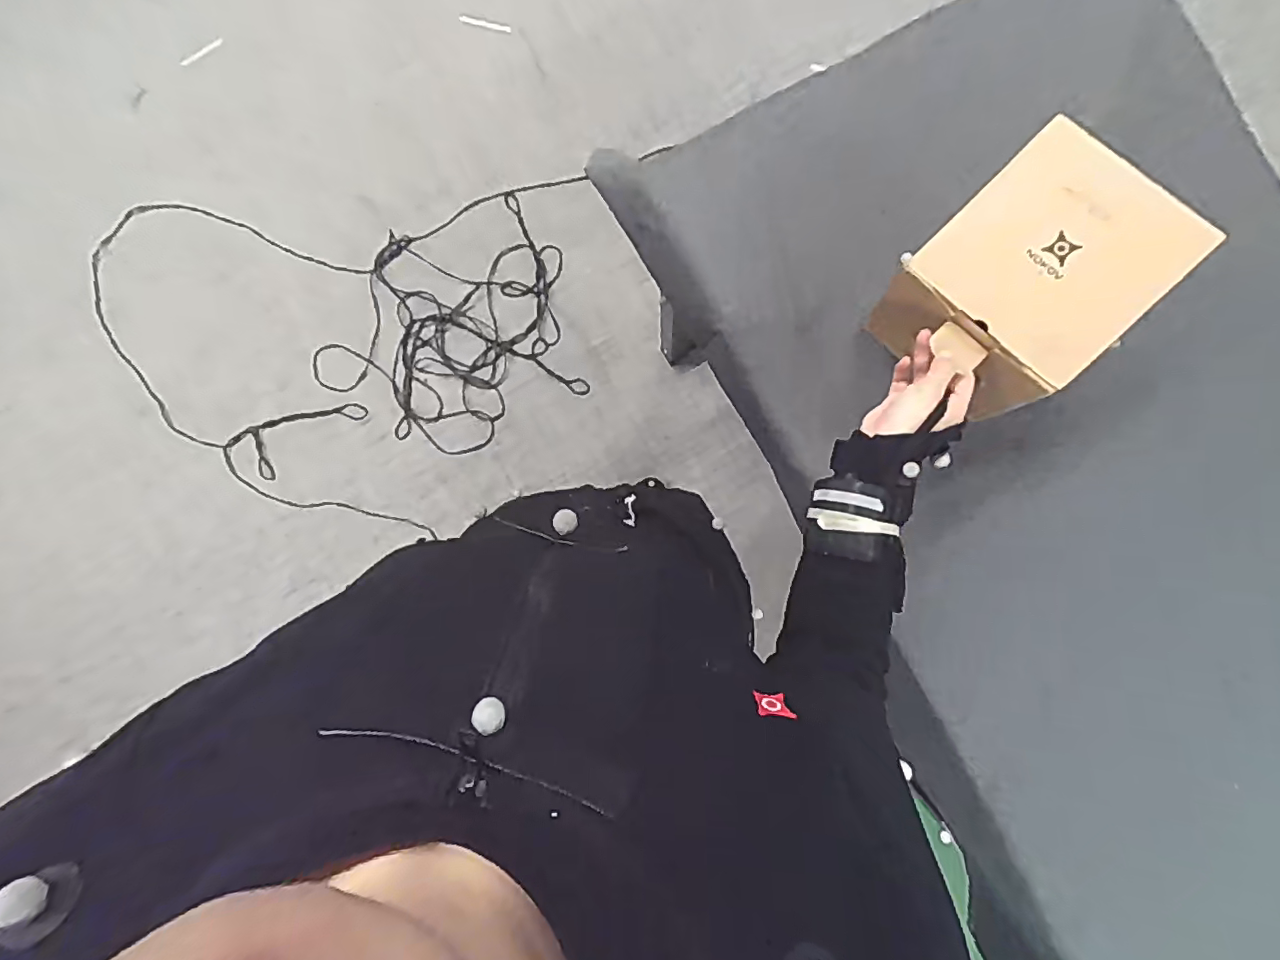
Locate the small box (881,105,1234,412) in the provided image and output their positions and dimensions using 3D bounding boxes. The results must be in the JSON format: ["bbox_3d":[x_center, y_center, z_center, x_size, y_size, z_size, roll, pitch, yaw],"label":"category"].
[{"bbox_3d":[0.358,-0.186,0.515,0.168,0.176,0.179,45,94,8],"label":"small box"}]
